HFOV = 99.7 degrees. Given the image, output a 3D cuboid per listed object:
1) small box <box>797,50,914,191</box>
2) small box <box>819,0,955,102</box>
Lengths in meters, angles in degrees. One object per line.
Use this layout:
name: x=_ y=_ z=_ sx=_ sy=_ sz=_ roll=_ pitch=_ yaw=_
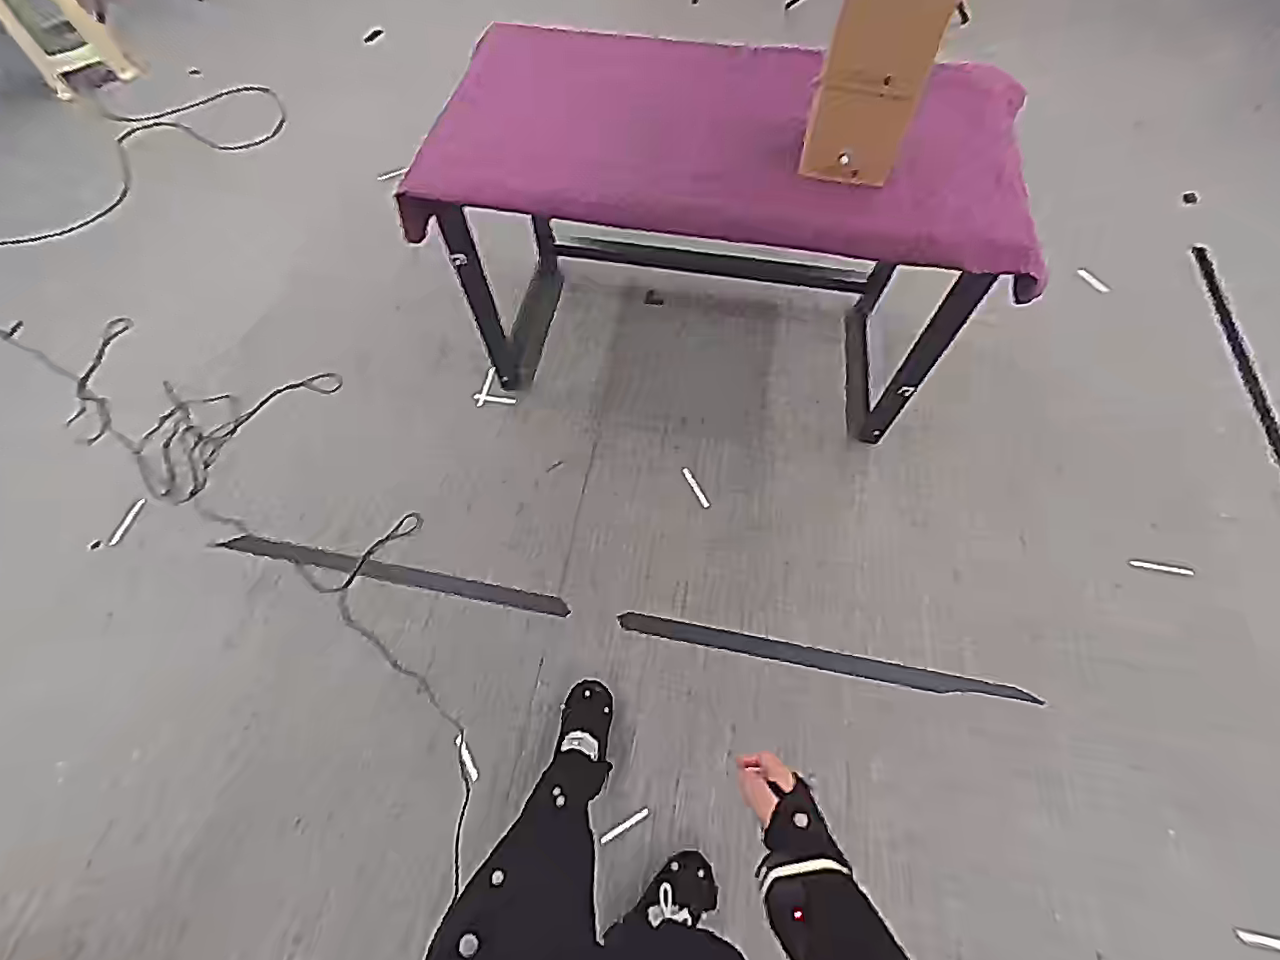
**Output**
small box: x=0.406 y=-0.694 z=1.035 sx=0.168 sy=0.176 sz=0.179 roll=11 pitch=64 yaw=7
small box: x=0.404 y=-0.764 z=0.887 sx=0.168 sy=0.176 sz=0.179 roll=13 pitch=63 yaw=8
